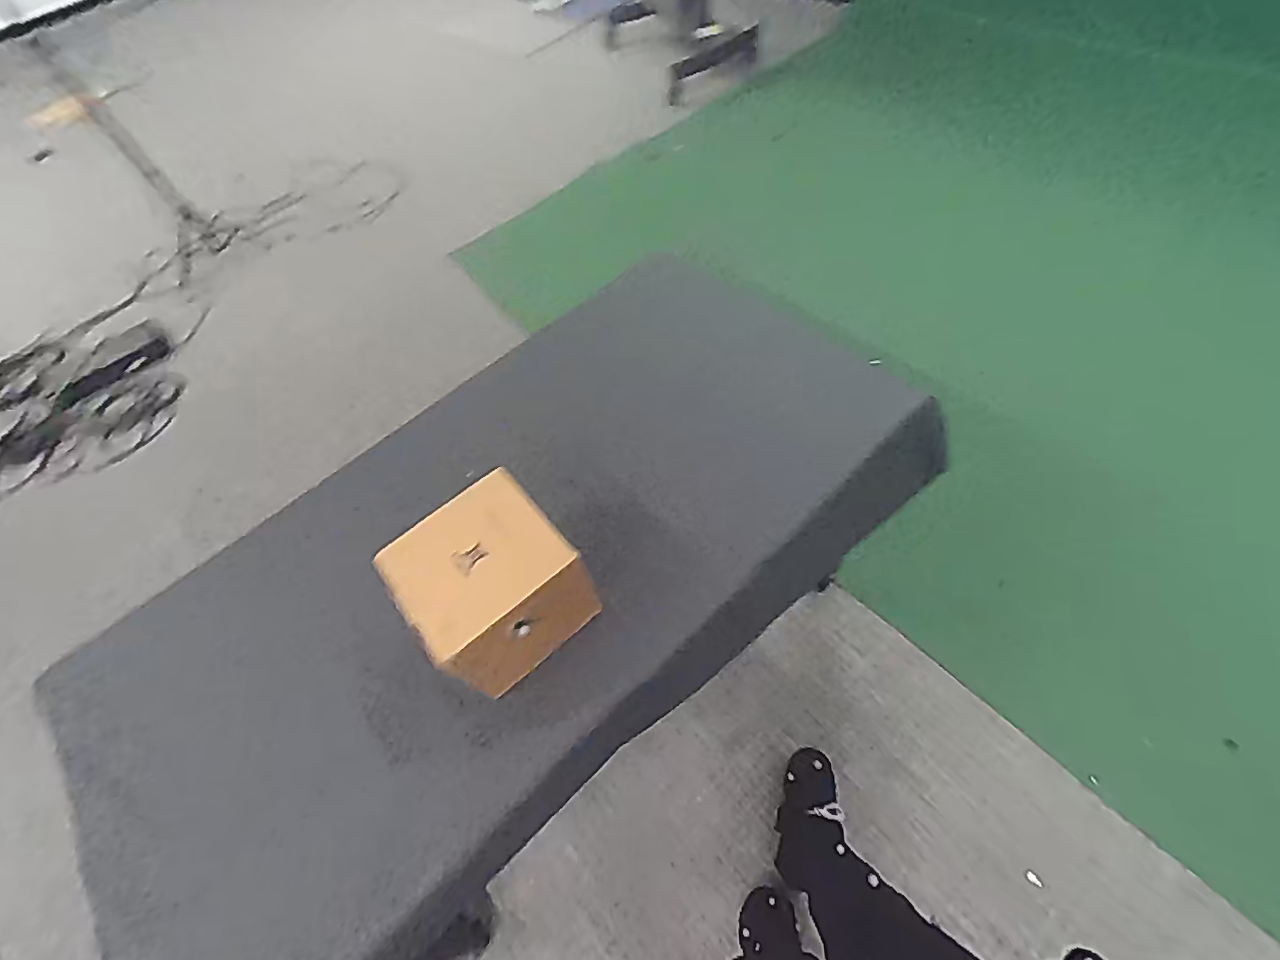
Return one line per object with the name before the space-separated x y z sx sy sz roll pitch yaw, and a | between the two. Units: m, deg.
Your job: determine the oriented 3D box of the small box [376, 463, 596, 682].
small box | -0.177 0.120 0.669 0.179 0.176 0.168 -40 62 -16
